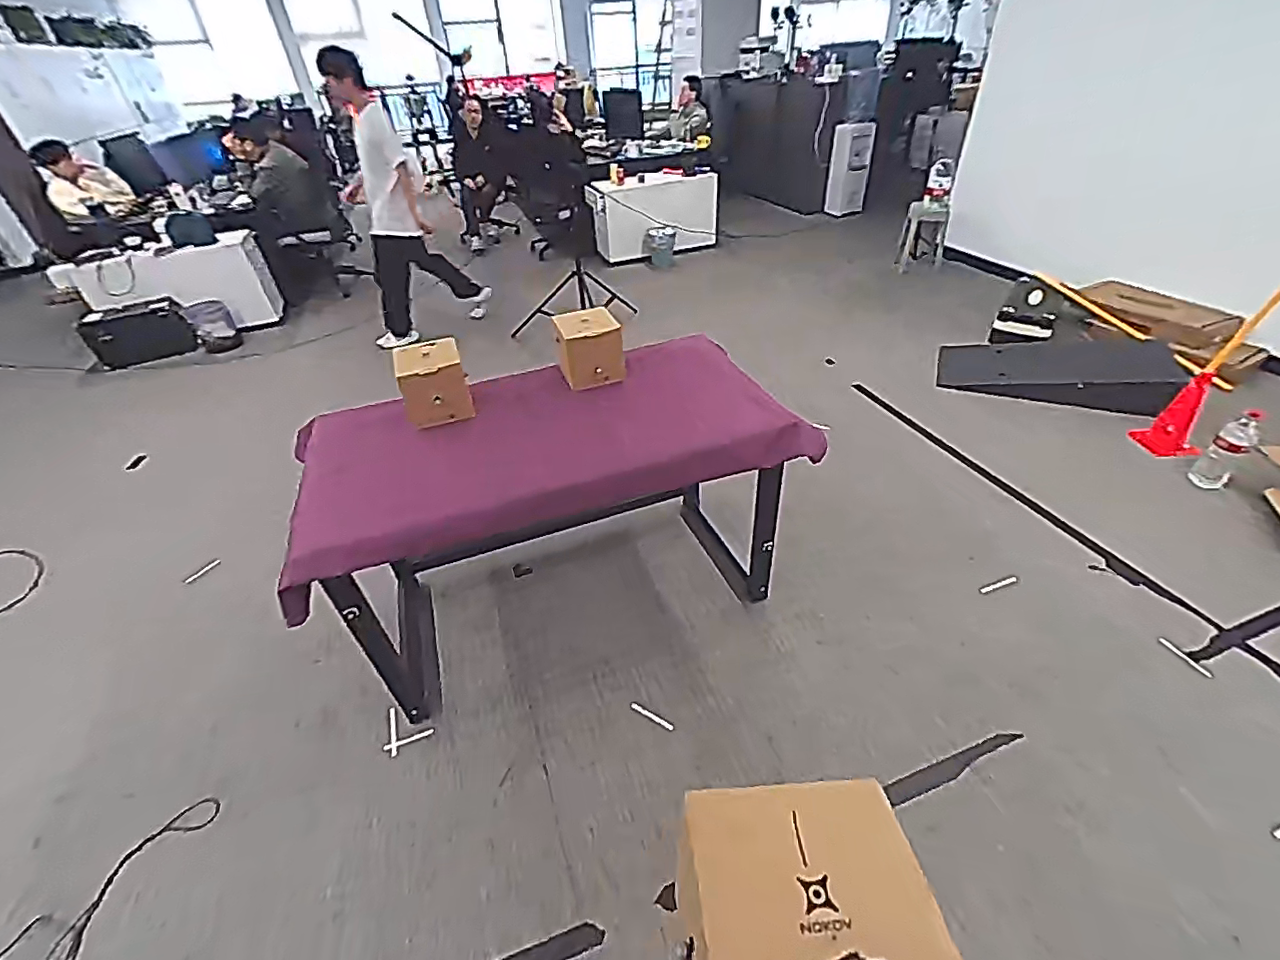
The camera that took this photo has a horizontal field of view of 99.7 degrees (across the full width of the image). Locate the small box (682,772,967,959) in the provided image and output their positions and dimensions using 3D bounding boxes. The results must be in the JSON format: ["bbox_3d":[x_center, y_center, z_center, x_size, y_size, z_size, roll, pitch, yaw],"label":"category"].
[{"bbox_3d":[0.125,0.358,0.412,0.168,0.176,0.179,-1,29,-3],"label":"small box"}]

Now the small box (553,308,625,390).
[{"bbox_3d":[-0.152,-0.390,1.614,0.168,0.176,0.179,-16,42,-13],"label":"small box"}]

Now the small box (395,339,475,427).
[{"bbox_3d":[-0.565,-0.263,1.499,0.168,0.176,0.179,-16,43,-14],"label":"small box"}]
